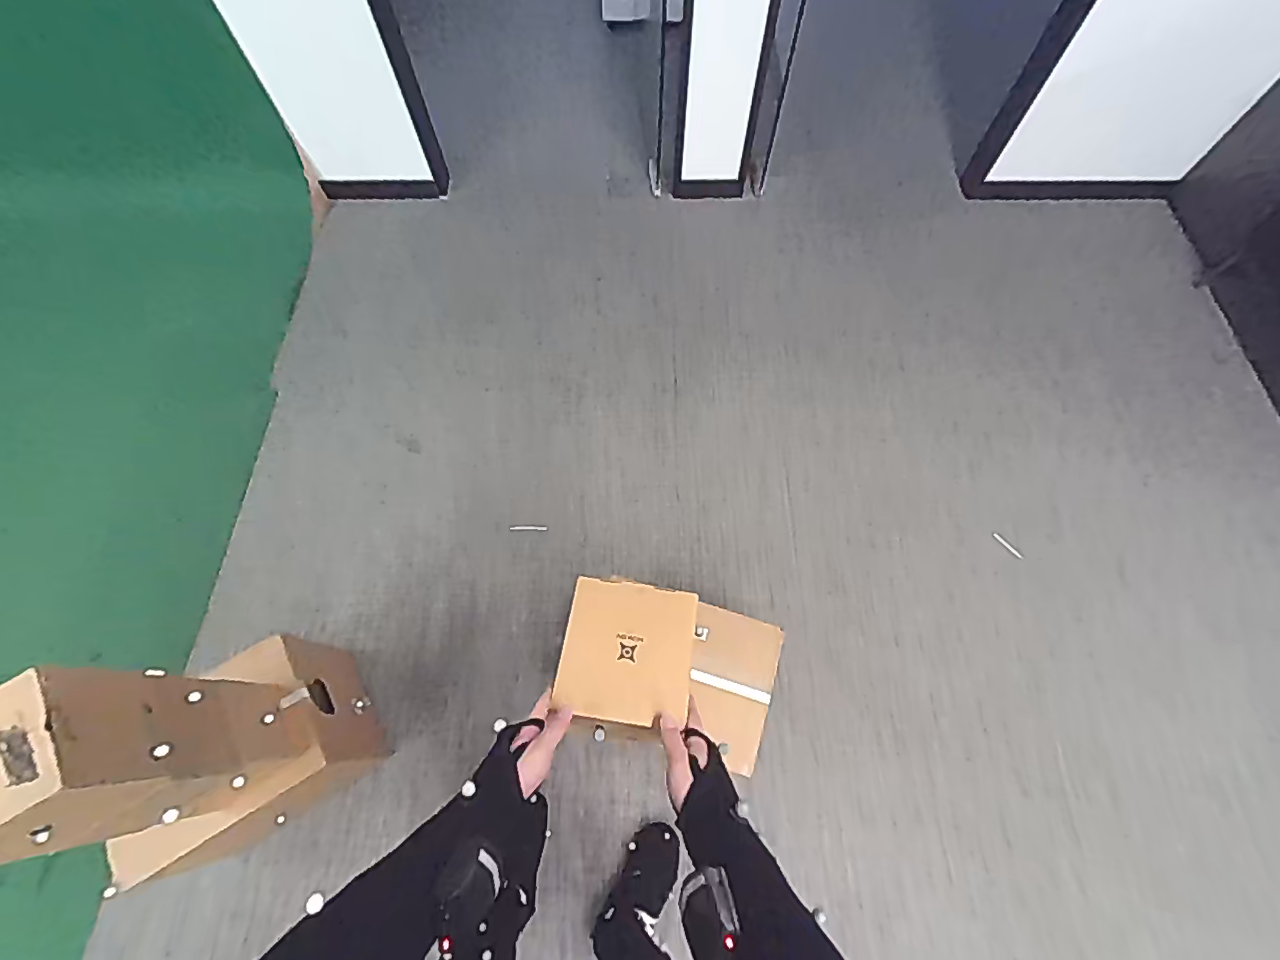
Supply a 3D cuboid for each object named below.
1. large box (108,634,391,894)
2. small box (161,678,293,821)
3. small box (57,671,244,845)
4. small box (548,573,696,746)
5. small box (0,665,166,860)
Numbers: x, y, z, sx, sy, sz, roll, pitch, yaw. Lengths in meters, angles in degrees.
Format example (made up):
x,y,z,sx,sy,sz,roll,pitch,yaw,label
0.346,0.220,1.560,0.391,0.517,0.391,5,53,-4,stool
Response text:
x,y,z,sx,sy,sz,roll,pitch,yaw,label
-0.865,0.610,1.226,0.408,0.320,0.320,-31,68,-13,large box
-0.787,0.494,1.008,0.179,0.176,0.168,-31,69,-13,small box
-0.781,0.432,0.858,0.168,0.176,0.179,-30,70,-12,small box
-0.019,0.252,0.744,0.168,0.176,0.179,8,55,3,small box
-0.776,0.366,0.708,0.179,0.176,0.168,-32,69,-12,small box
